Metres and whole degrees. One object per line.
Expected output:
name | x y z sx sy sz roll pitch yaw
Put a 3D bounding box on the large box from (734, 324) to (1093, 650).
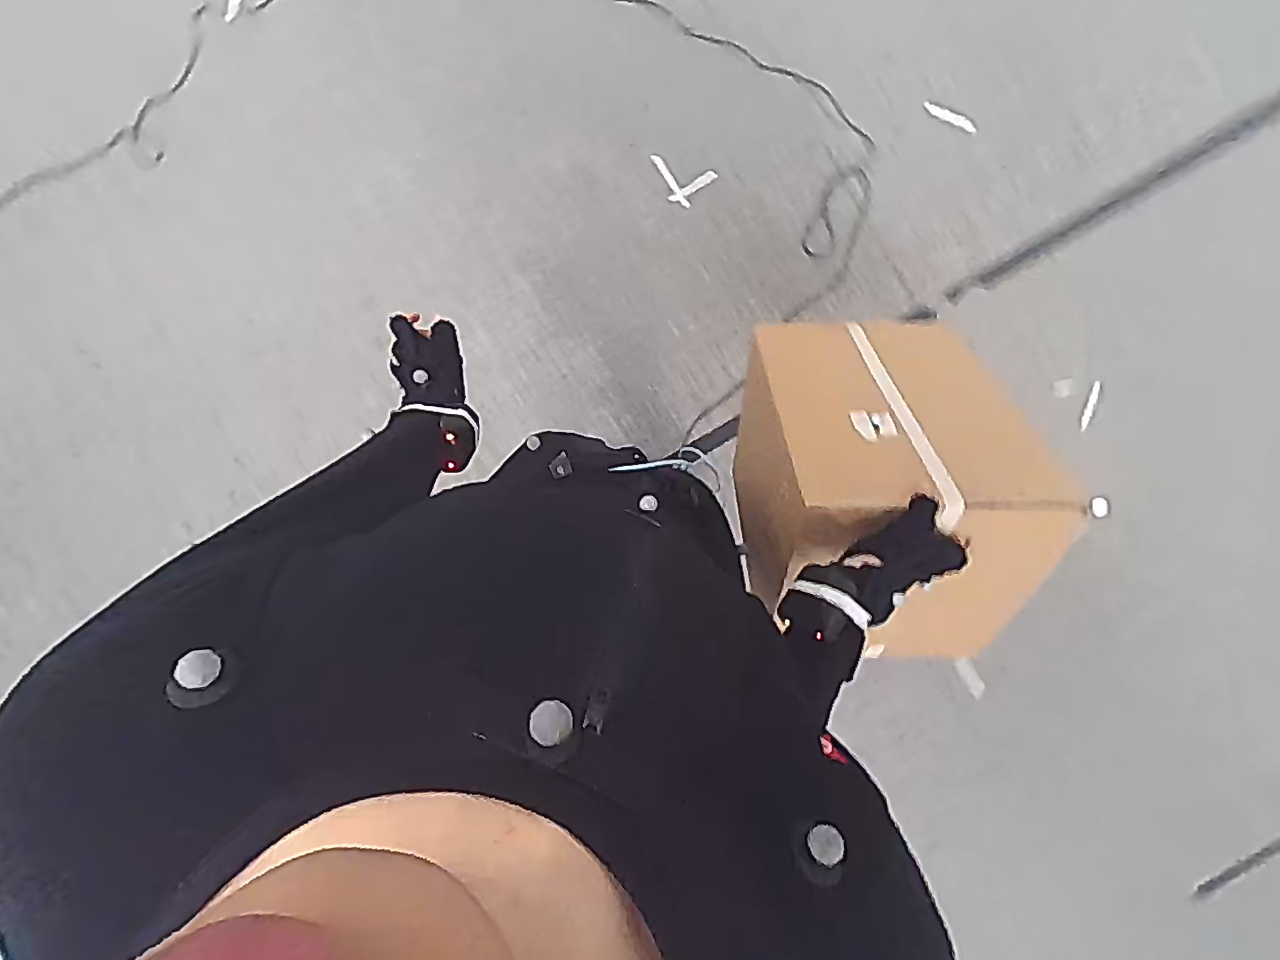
large box | 0.336 0.000 0.824 0.320 0.408 0.320 0 134 1
